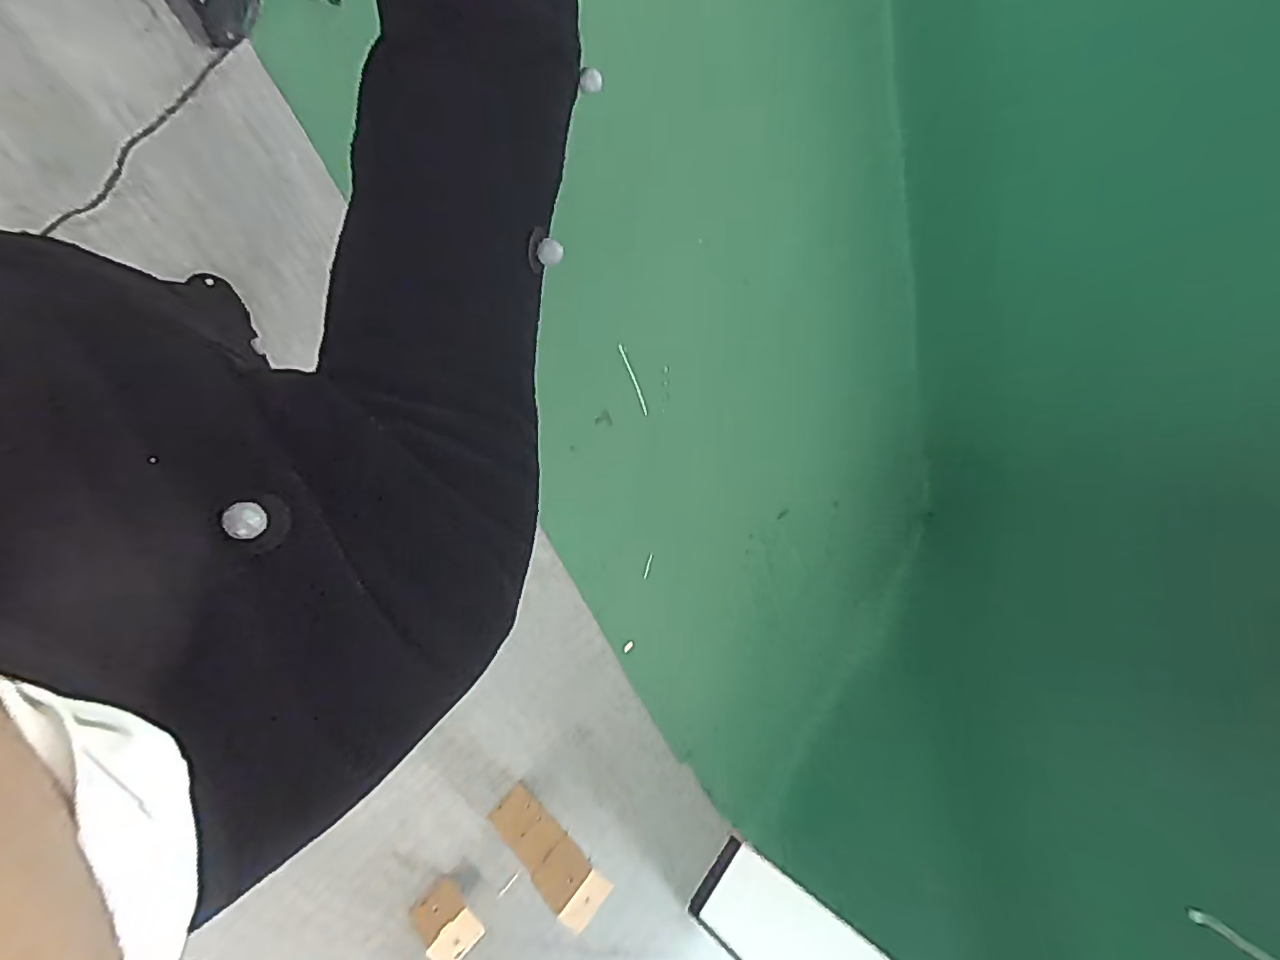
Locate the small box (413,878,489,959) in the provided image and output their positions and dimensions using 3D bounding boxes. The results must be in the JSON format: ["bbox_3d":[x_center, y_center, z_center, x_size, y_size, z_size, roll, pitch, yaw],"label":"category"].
[{"bbox_3d":[-0.673,1.565,1.915,0.168,0.176,0.179,-35,121,-32],"label":"small box"}]

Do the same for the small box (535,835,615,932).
[{"bbox_3d":[-0.221,1.361,1.835,0.179,0.176,0.168,-43,126,-27],"label":"small box"}]

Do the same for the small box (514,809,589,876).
[{"bbox_3d":[-0.324,1.338,1.962,0.168,0.176,0.179,-44,127,-26],"label":"small box"}]
